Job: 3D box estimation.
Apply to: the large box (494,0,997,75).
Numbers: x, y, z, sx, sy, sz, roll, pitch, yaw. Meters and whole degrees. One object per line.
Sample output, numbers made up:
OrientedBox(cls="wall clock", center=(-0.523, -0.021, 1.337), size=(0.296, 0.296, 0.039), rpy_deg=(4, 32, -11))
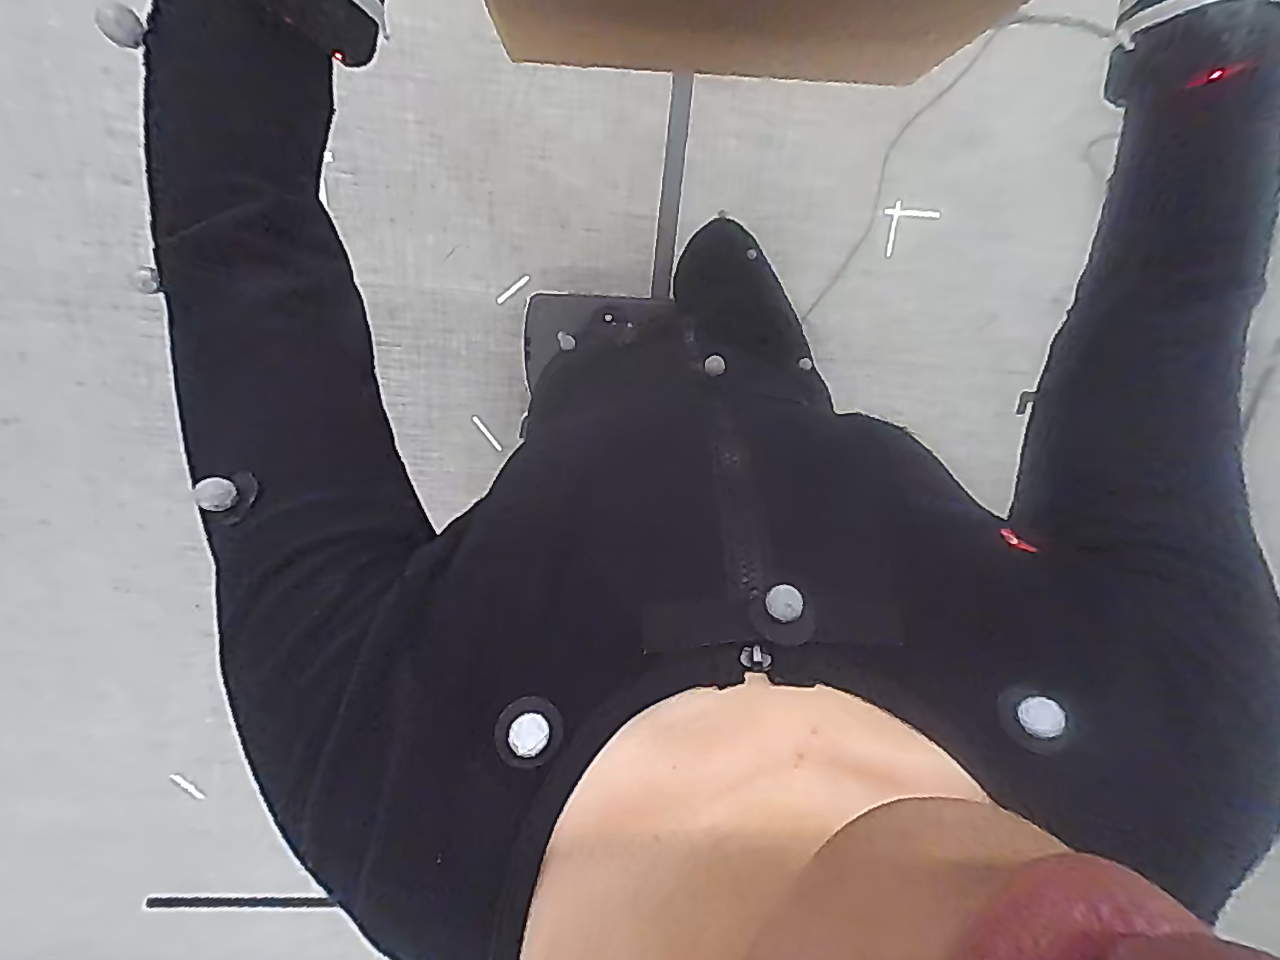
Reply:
OrientedBox(cls="large box", center=(0.084, -0.508, 0.353), size=(0.408, 0.320, 0.320), rpy_deg=(0, 109, -4))
